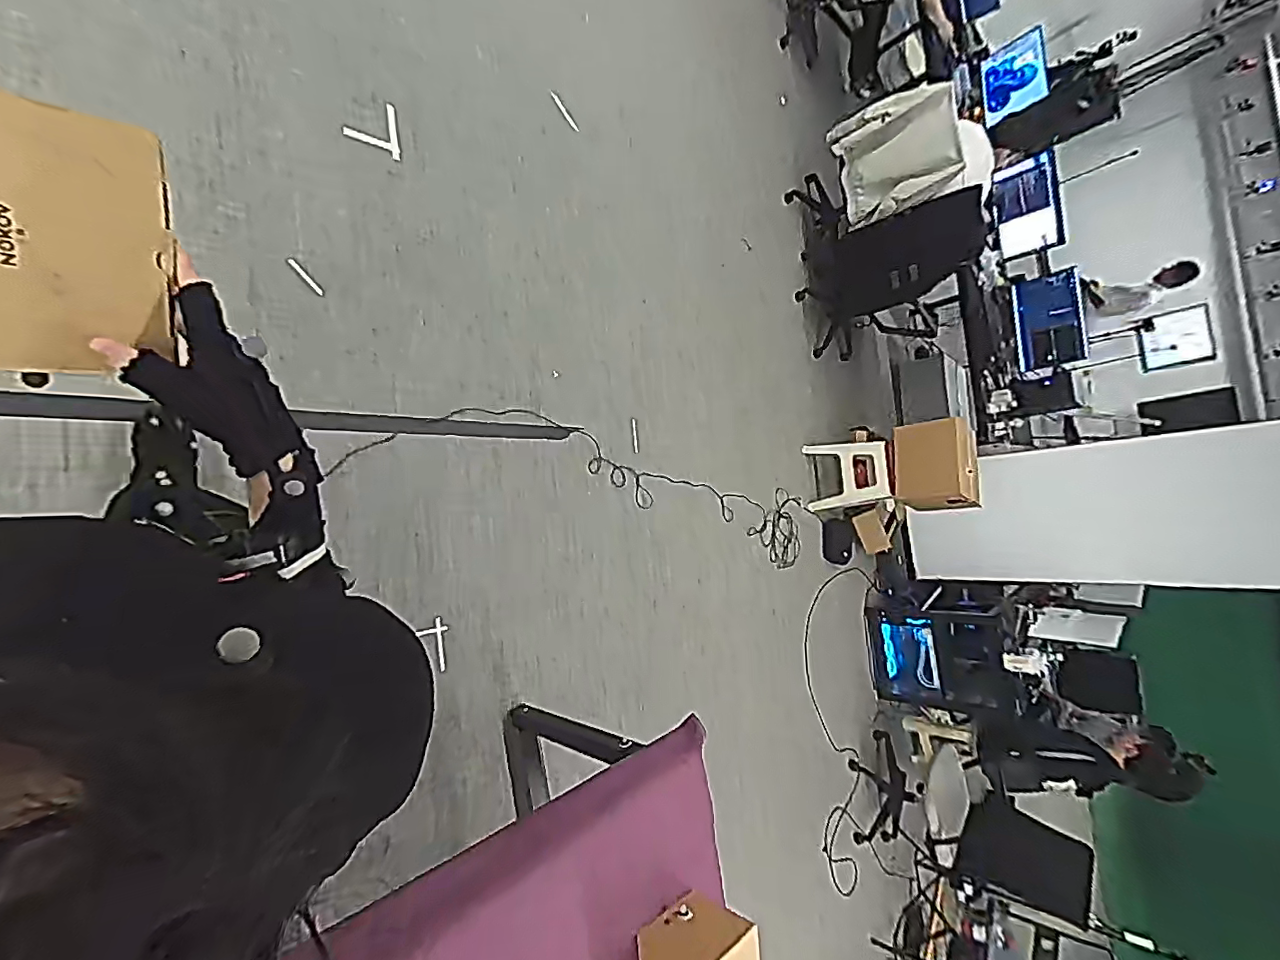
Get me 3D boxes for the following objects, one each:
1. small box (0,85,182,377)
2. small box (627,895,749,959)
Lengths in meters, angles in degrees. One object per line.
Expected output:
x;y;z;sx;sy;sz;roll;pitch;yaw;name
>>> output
-0.445;-0.167;0.378;0.179;0.176;0.168;-4;103;-43;small box
0.092;0.947;1.023;0.168;0.176;0.179;0;83;-46;small box
